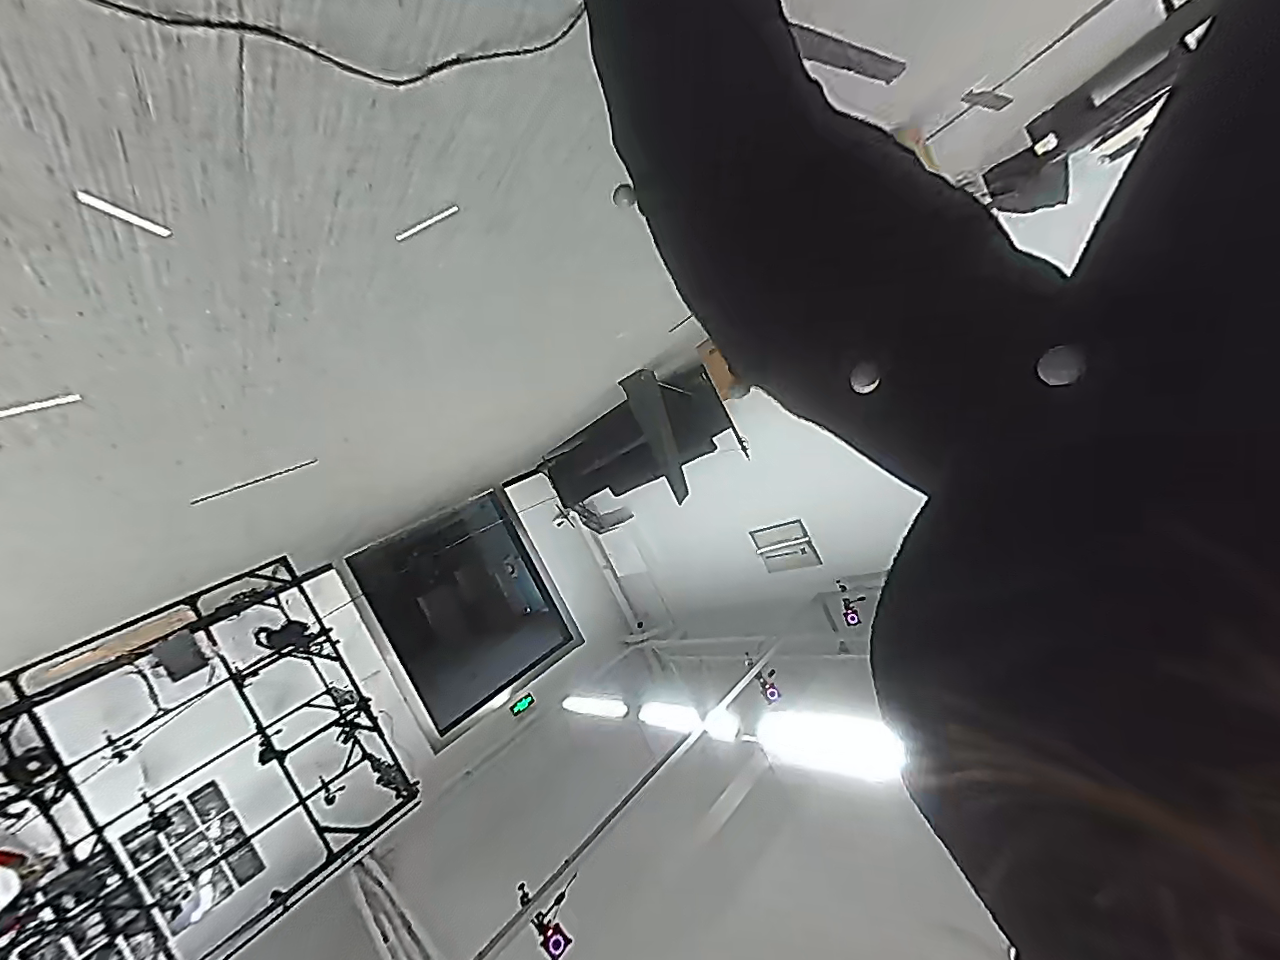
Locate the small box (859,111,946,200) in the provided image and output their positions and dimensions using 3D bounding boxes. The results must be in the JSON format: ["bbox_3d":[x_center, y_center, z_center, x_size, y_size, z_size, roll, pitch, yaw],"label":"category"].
[{"bbox_3d":[0.813,-1.011,1.692,0.168,0.176,0.179,-30,-176,-37],"label":"small box"}]
